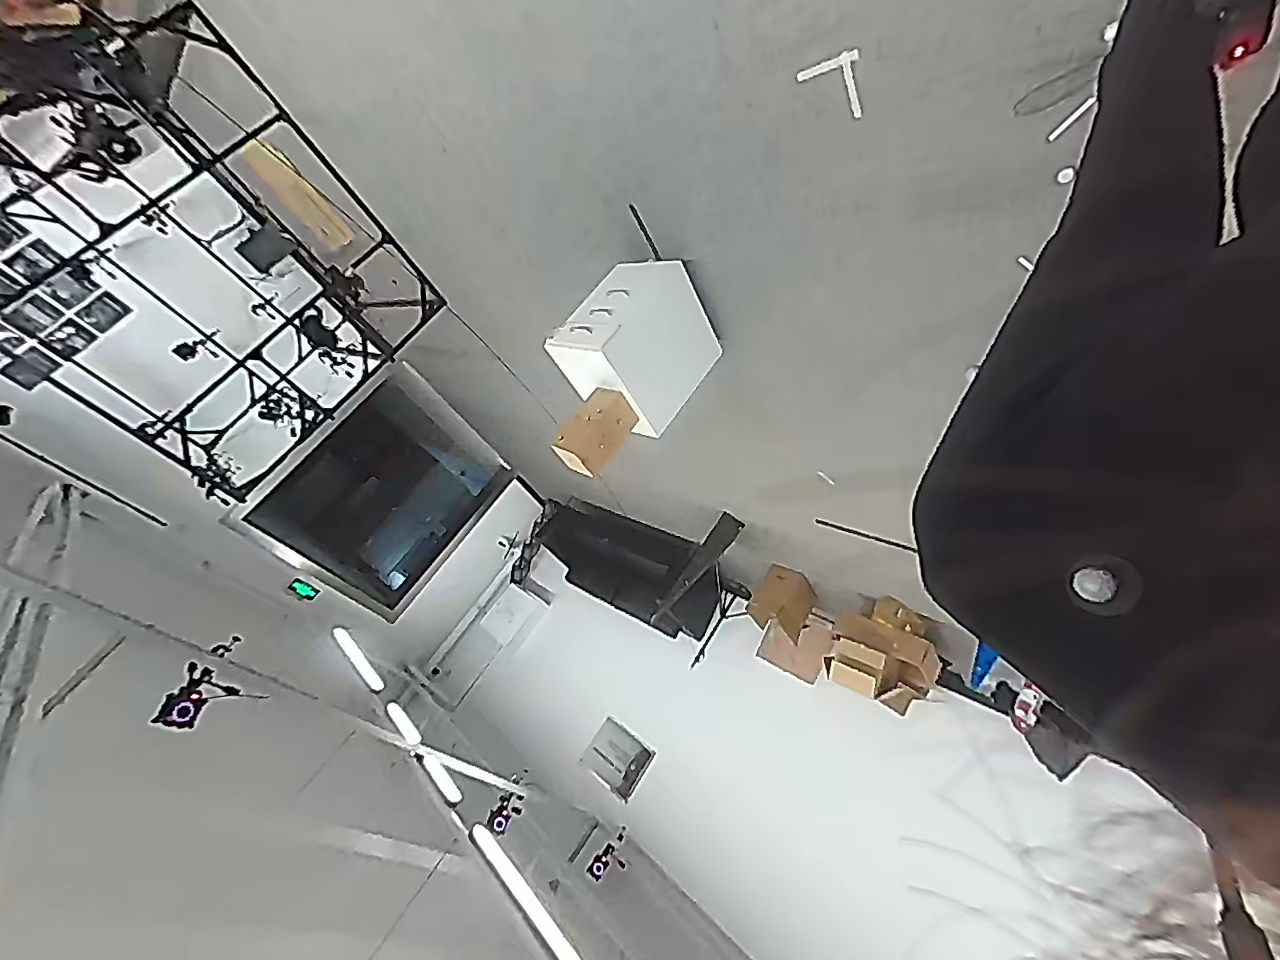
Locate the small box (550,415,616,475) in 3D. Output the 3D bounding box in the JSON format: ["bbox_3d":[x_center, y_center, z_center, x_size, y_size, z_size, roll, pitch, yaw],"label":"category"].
[{"bbox_3d":[-0.235,-0.153,2.272,0.179,0.176,0.168,21,157,41],"label":"small box"}]
